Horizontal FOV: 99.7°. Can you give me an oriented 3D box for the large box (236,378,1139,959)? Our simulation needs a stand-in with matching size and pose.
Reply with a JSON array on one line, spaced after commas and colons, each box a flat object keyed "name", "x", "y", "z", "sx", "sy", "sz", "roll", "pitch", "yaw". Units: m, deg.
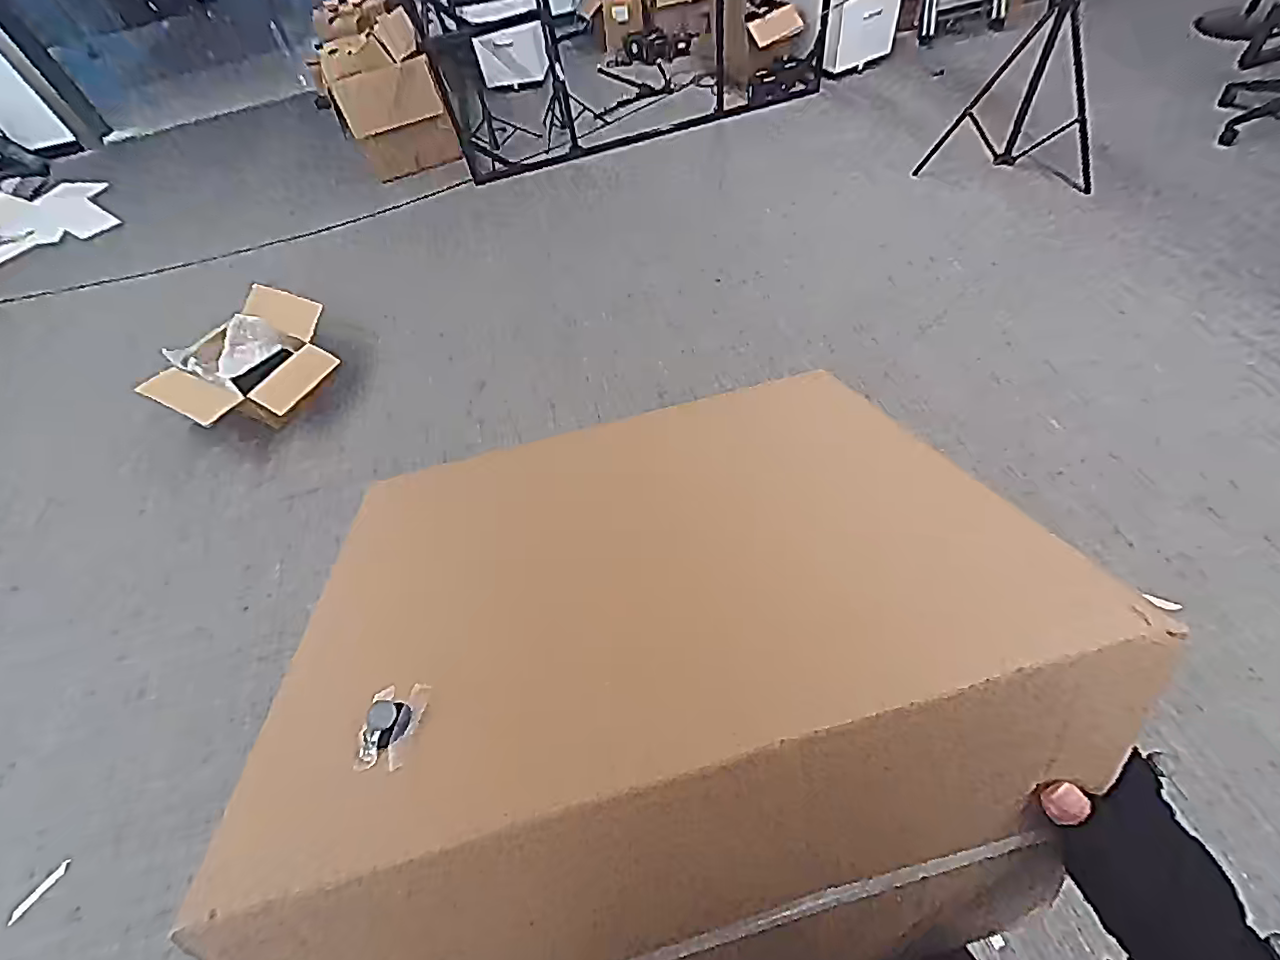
[{"name": "large box", "x": 0.028, "y": 0.154, "z": 0.427, "sx": 0.408, "sy": 0.320, "sz": 0.320, "roll": -15, "pitch": 33, "yaw": -3}]
